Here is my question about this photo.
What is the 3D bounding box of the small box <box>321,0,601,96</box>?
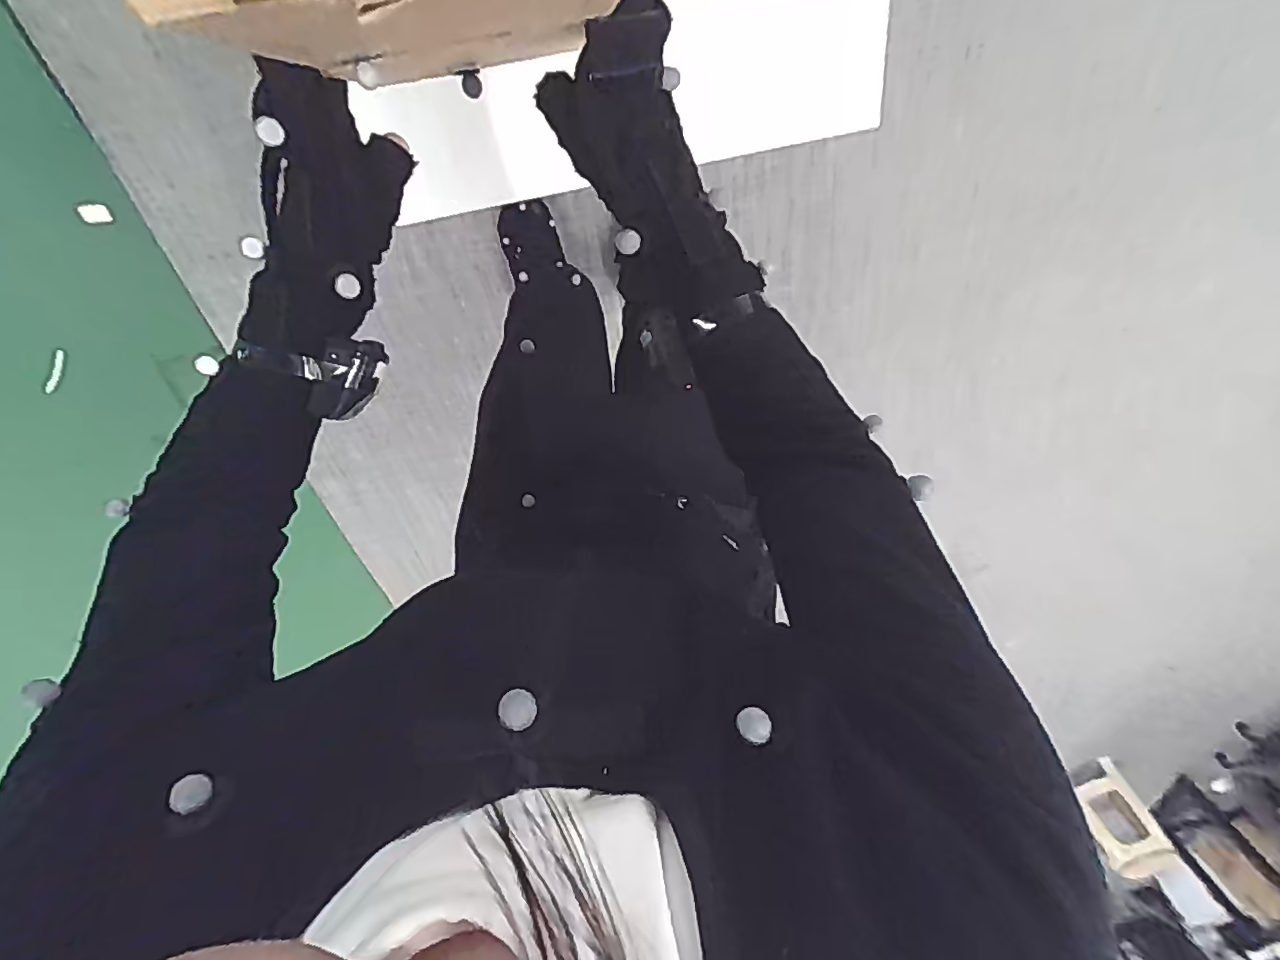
[{"bbox_3d":[-0.127,-0.361,0.336,0.168,0.176,0.179,-13,125,-1],"label":"small box"}]

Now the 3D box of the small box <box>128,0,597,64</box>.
[{"bbox_3d":[-0.104,-0.274,0.198,0.168,0.176,0.179,-12,123,-3],"label":"small box"}]
